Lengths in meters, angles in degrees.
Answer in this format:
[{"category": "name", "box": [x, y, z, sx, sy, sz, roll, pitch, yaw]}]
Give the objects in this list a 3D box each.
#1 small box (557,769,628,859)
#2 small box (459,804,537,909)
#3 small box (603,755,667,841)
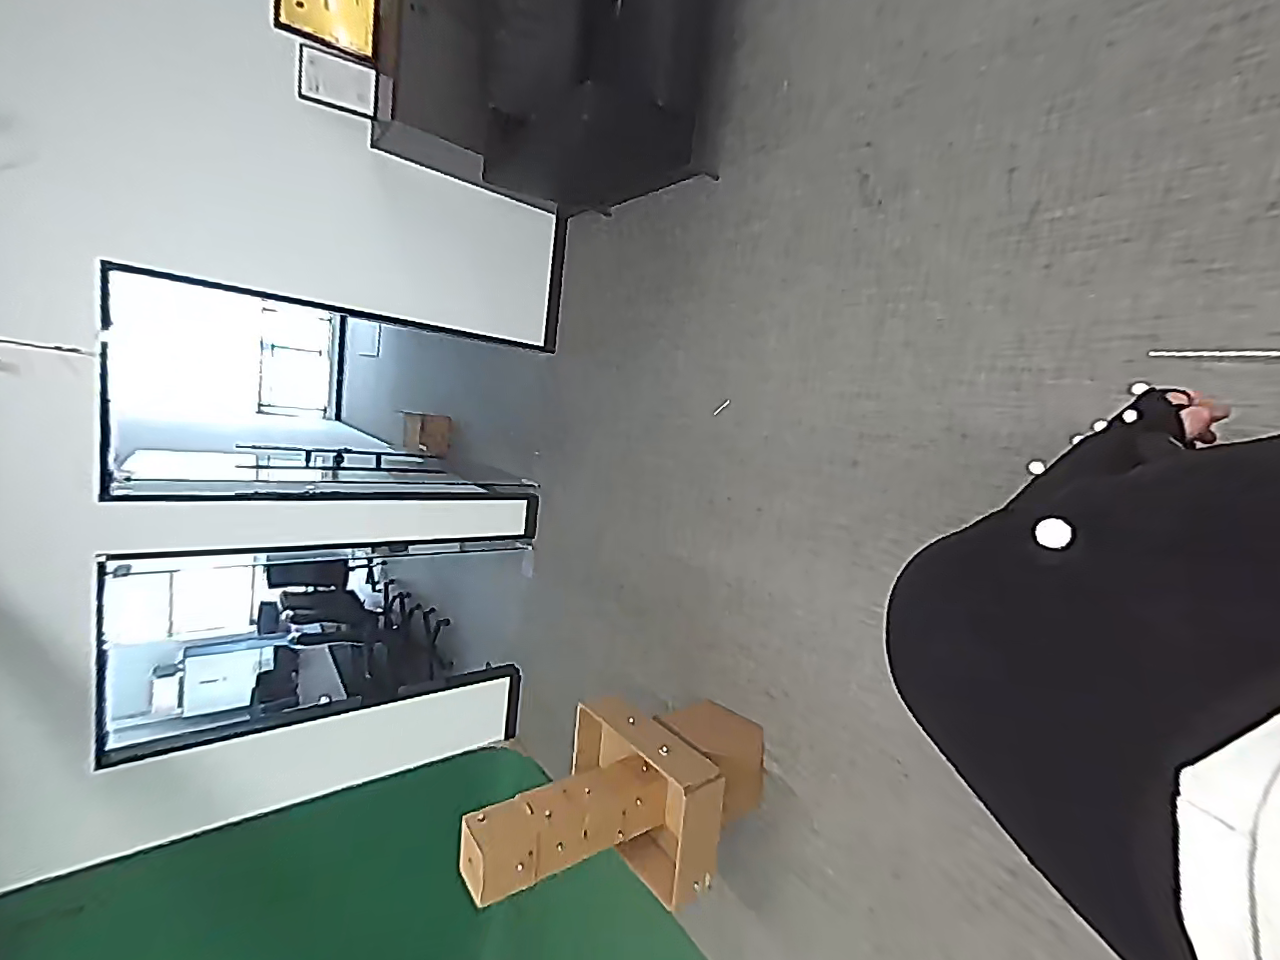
[{"category": "small box", "box": [-0.155, 1.093, 1.788, 0.179, 0.176, 0.168, 11, 97, 53]}, {"category": "small box", "box": [-0.419, 1.093, 1.592, 0.179, 0.176, 0.168, 9, 96, 53]}, {"category": "small box", "box": [-0.021, 1.100, 1.884, 0.168, 0.176, 0.179, 10, 96, 53]}]
